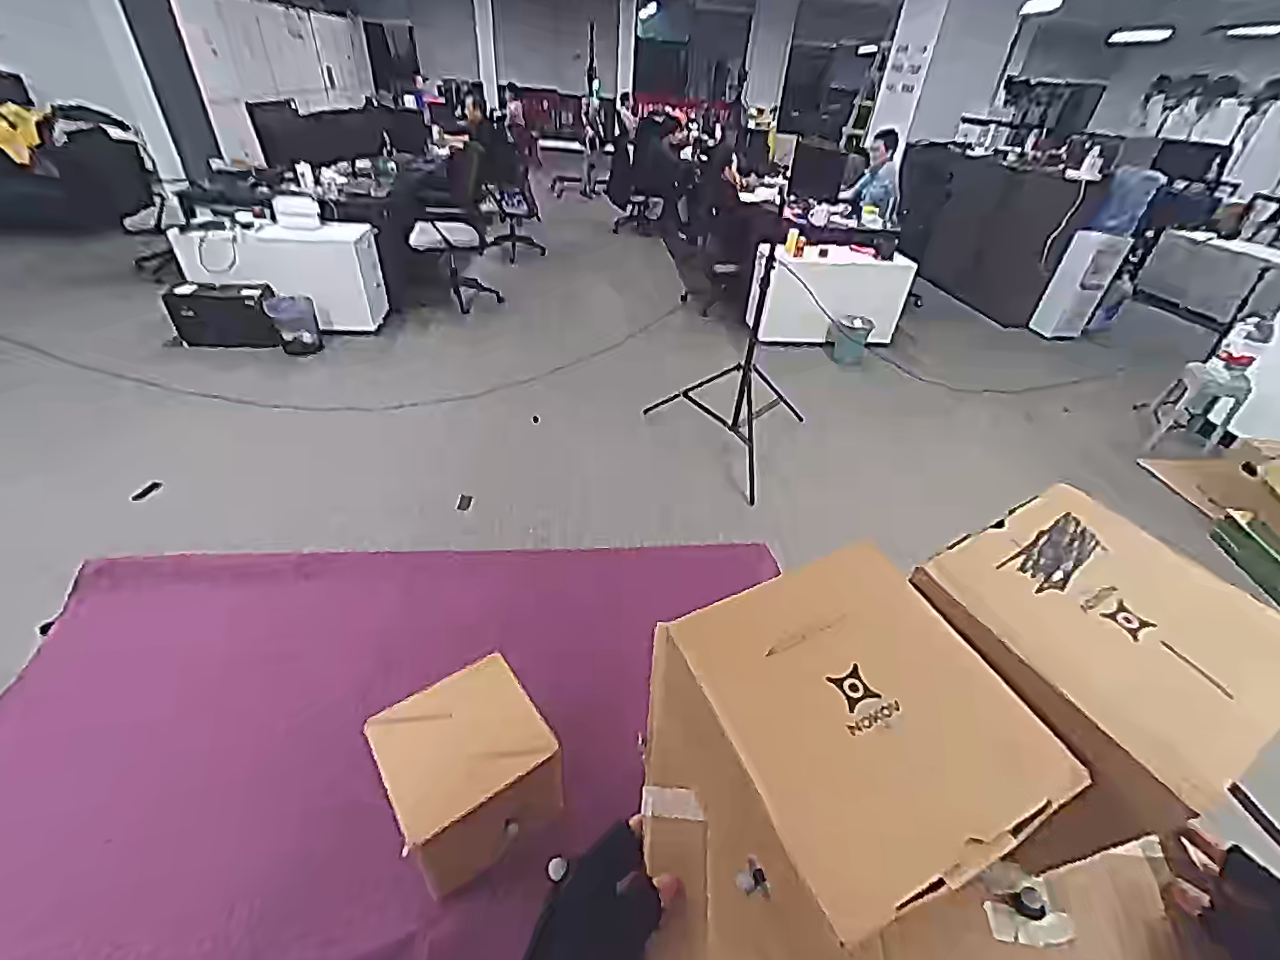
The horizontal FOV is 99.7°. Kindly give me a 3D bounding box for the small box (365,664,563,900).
[{"bbox_3d":[-0.214,0.363,0.678,0.179,0.176,0.168,-23,43,-31],"label":"small box"}]

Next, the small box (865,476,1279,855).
[{"bbox_3d":[0.303,0.133,0.403,0.168,0.176,0.179,-23,49,-19],"label":"small box"}]

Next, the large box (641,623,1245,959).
[{"bbox_3d":[0.204,0.361,0.524,0.408,0.320,0.320,3,46,3],"label":"large box"}]
